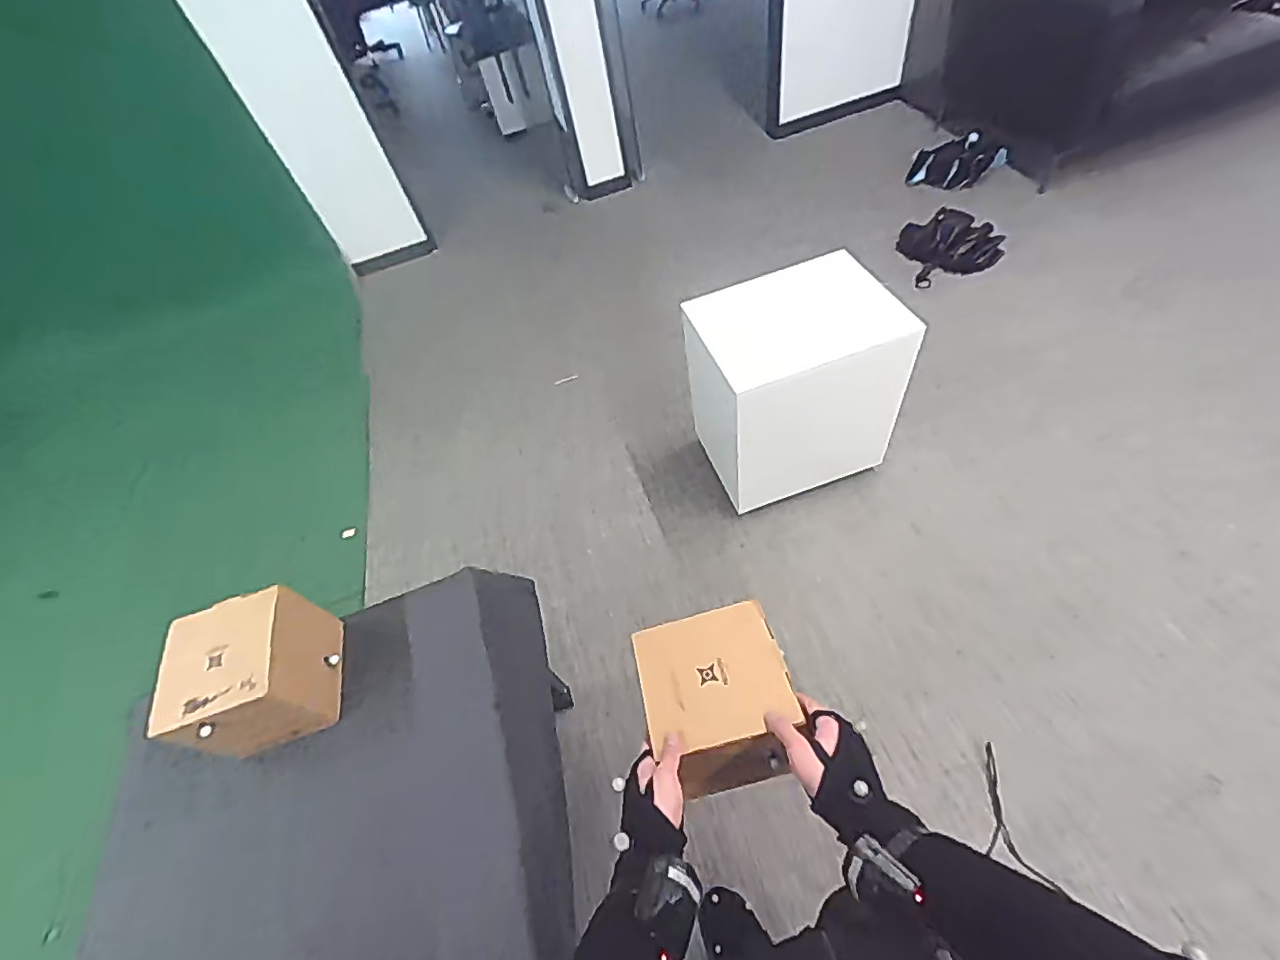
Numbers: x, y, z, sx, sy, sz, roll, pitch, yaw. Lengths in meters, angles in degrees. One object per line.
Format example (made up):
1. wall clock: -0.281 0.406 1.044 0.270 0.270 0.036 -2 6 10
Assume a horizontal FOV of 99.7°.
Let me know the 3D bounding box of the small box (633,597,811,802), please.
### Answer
1. small box: 0.103 0.282 0.692 0.179 0.176 0.168 -16 43 1

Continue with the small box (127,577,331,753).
1. small box: -0.589 0.279 0.807 0.168 0.176 0.179 -18 52 -4
